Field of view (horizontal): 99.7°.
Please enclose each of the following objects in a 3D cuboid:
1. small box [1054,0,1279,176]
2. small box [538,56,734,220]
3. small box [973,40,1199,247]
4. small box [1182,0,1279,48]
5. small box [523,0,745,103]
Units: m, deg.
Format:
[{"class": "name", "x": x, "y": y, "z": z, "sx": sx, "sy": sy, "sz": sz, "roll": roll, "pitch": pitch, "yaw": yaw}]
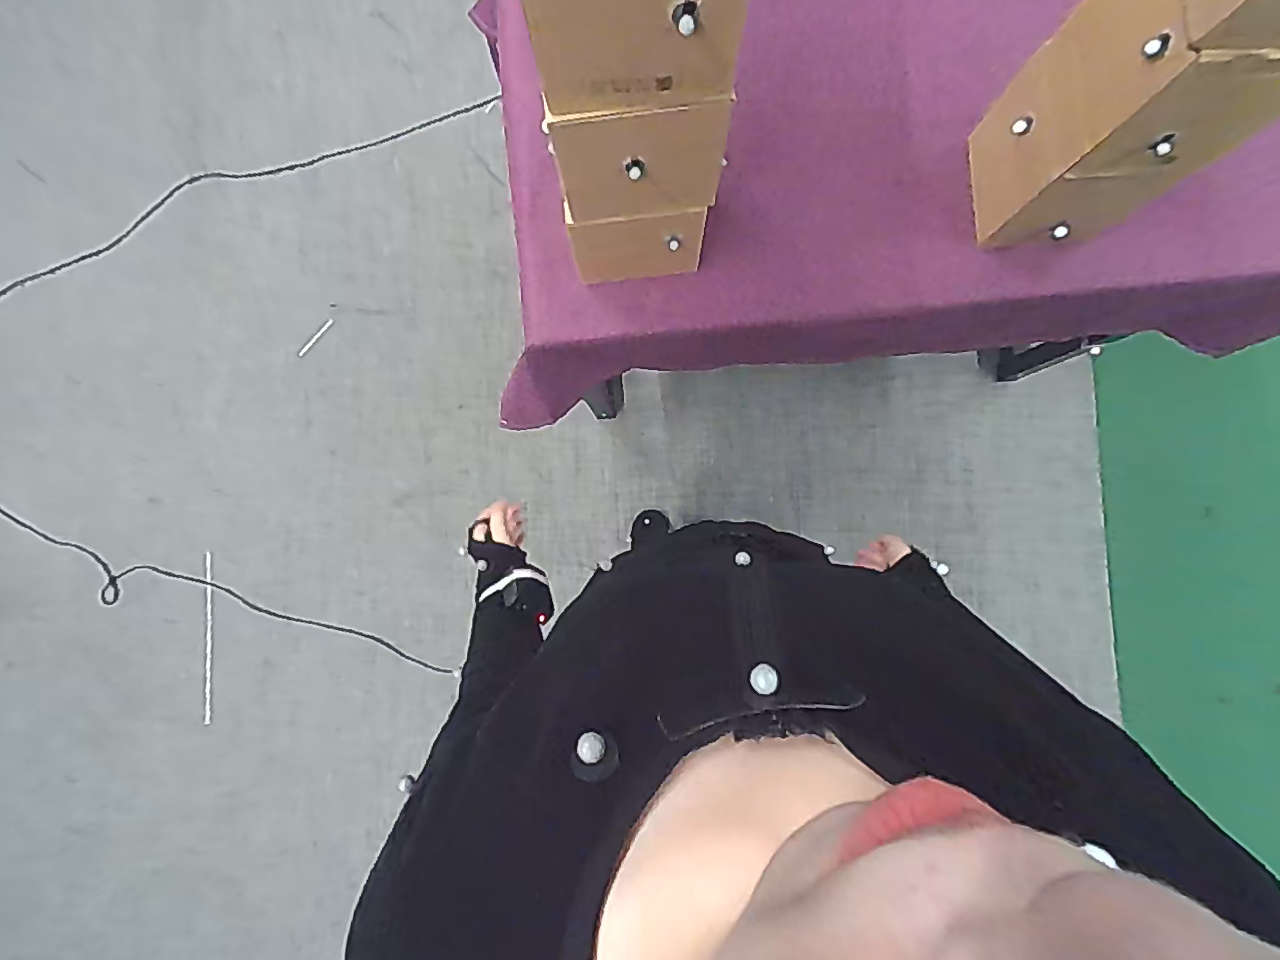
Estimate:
[{"class": "small box", "x": 0.568, "y": -0.448, "z": 0.556, "sx": 0.168, "sy": 0.176, "sz": 0.179, "roll": -2, "pitch": 87, "yaw": 2}, {"class": "small box", "x": -0.007, "y": -0.404, "z": 0.574, "sx": 0.179, "sy": 0.176, "sz": 0.168, "roll": -7, "pitch": 86, "yaw": 2}, {"class": "small box", "x": 0.571, "y": -0.437, "z": 0.719, "sx": 0.168, "sy": 0.176, "sz": 0.179, "roll": -2, "pitch": 86, "yaw": 3}, {"class": "small box", "x": 0.560, "y": -0.456, "z": 0.392, "sx": 0.179, "sy": 0.176, "sz": 0.168, "roll": 0, "pitch": 86, "yaw": 1}, {"class": "small box", "x": -0.006, "y": -0.423, "z": 0.412, "sx": 0.168, "sy": 0.176, "sz": 0.179, "roll": -3, "pitch": 85, "yaw": 0}]
